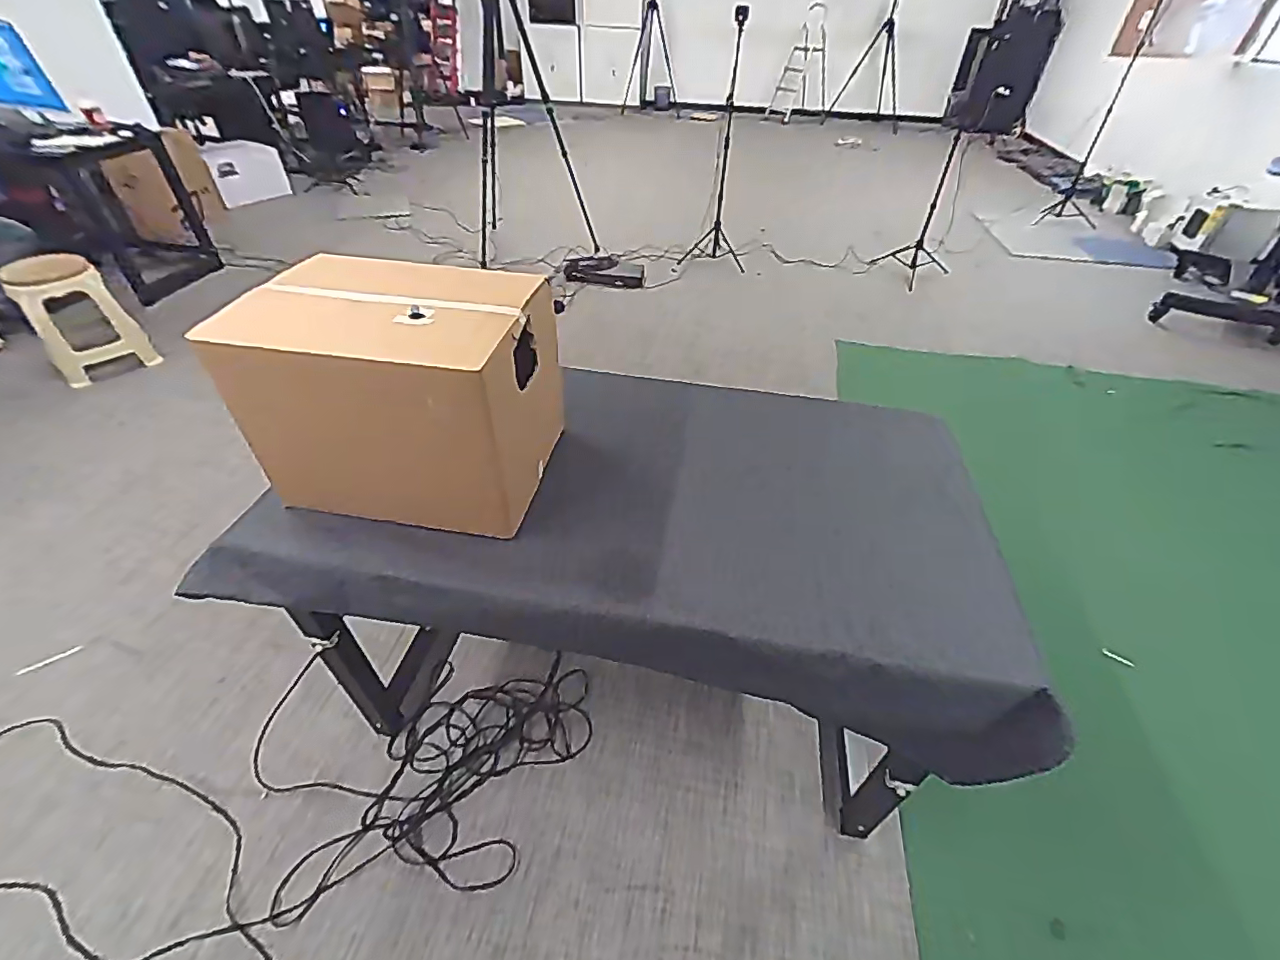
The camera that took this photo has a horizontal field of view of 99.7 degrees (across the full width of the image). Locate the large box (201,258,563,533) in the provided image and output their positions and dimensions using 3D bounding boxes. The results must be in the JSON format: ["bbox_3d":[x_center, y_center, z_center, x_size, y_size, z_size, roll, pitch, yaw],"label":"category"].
[{"bbox_3d":[-0.363,-0.143,0.893,0.408,0.320,0.320,8,43,4],"label":"large box"}]
